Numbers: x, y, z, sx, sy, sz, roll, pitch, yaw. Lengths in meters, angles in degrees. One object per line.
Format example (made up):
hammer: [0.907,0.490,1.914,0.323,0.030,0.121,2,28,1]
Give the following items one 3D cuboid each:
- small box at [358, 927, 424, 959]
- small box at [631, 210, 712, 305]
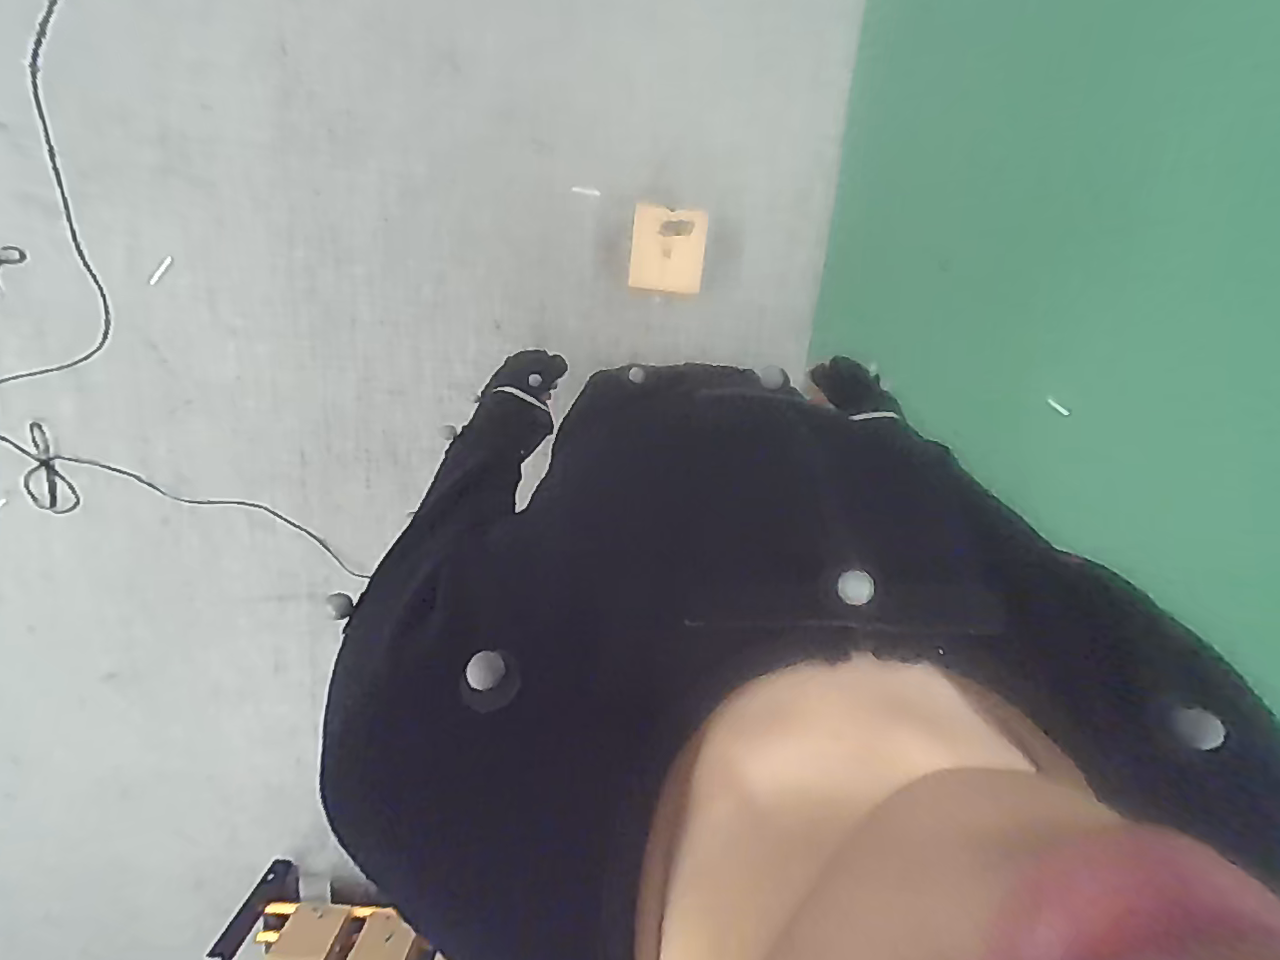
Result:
small box: [-0.765,1.498,1.629,0.168,0.176,0.179,5,102,-1]
small box: [0.068,-0.520,1.284,0.168,0.176,0.179,5,104,-2]
